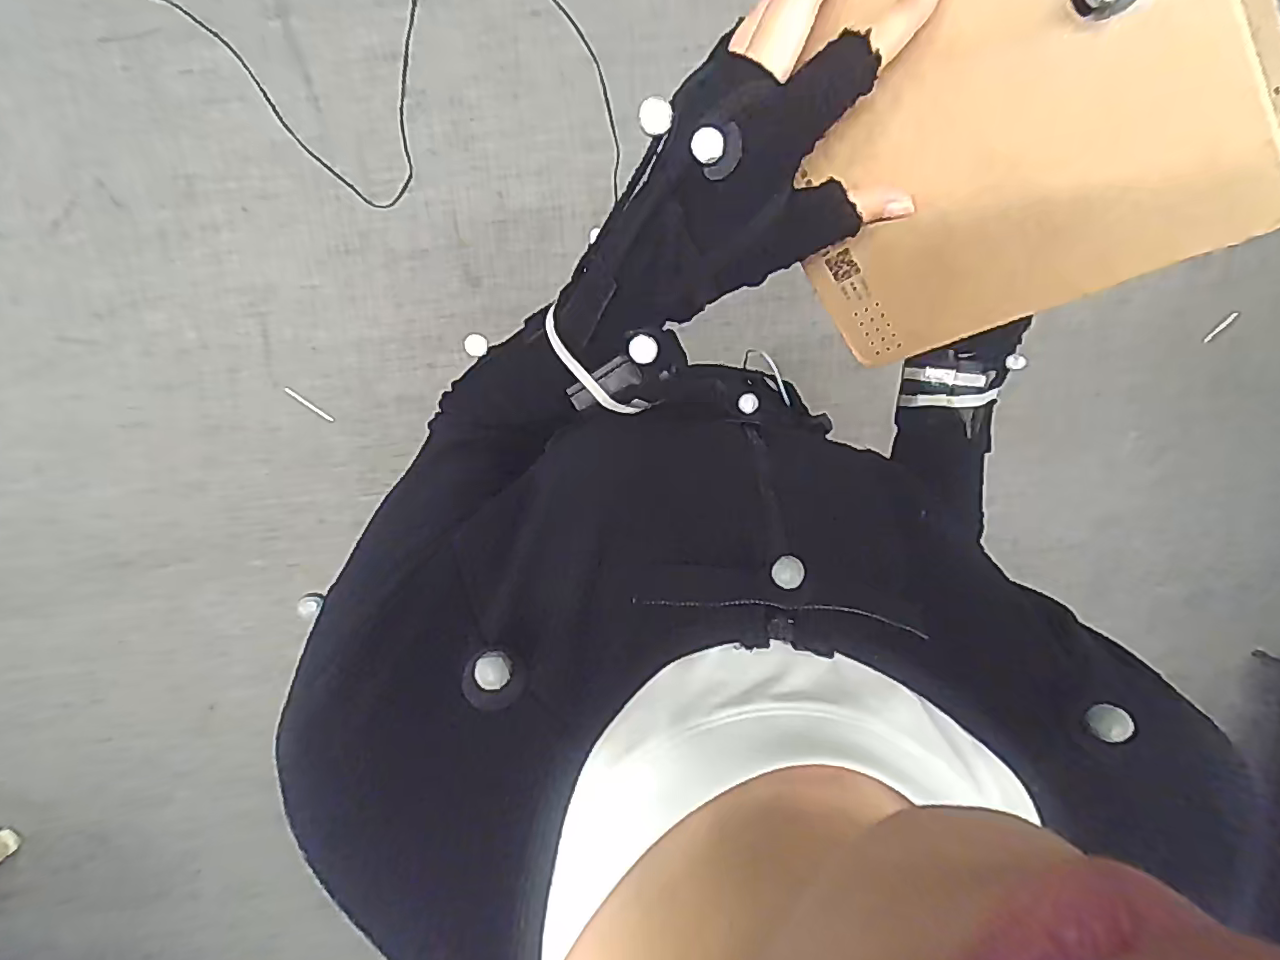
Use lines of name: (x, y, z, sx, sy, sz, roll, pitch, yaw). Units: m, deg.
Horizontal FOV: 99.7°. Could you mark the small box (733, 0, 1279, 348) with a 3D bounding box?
small box: (0.181, -0.198, 0.278, 0.179, 0.176, 0.168, -44, 105, -31)
